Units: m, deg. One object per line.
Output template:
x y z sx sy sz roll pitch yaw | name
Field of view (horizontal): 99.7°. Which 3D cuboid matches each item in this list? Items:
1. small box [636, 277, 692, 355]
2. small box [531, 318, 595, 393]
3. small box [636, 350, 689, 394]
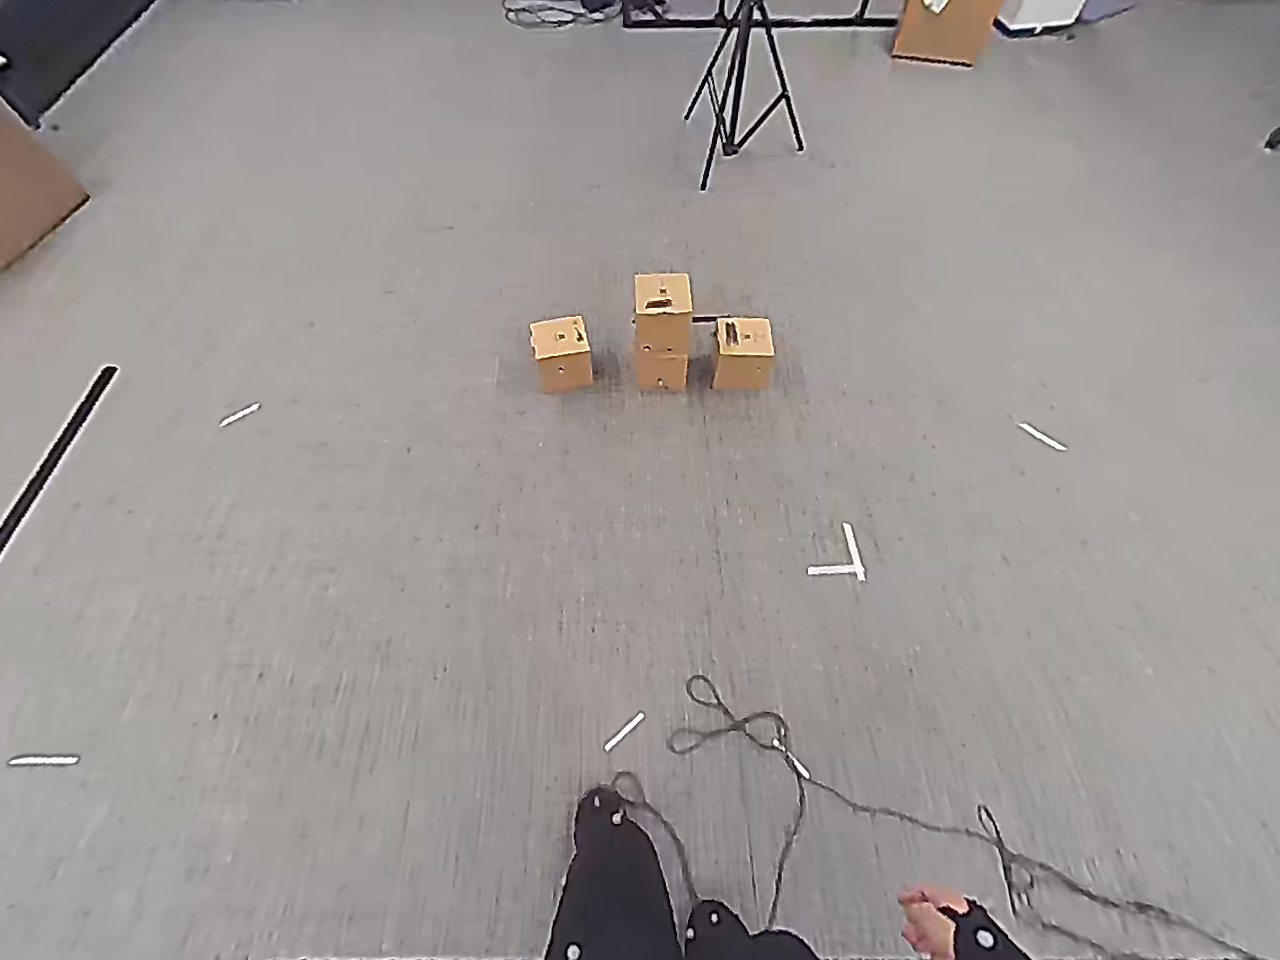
0.071 -0.501 1.669 0.168 0.176 0.179 -1 59 -1 | small box
-0.256 -0.411 1.807 0.179 0.176 0.168 -12 61 -6 | small box
0.074 -0.409 1.805 0.168 0.176 0.179 2 60 1 | small box
